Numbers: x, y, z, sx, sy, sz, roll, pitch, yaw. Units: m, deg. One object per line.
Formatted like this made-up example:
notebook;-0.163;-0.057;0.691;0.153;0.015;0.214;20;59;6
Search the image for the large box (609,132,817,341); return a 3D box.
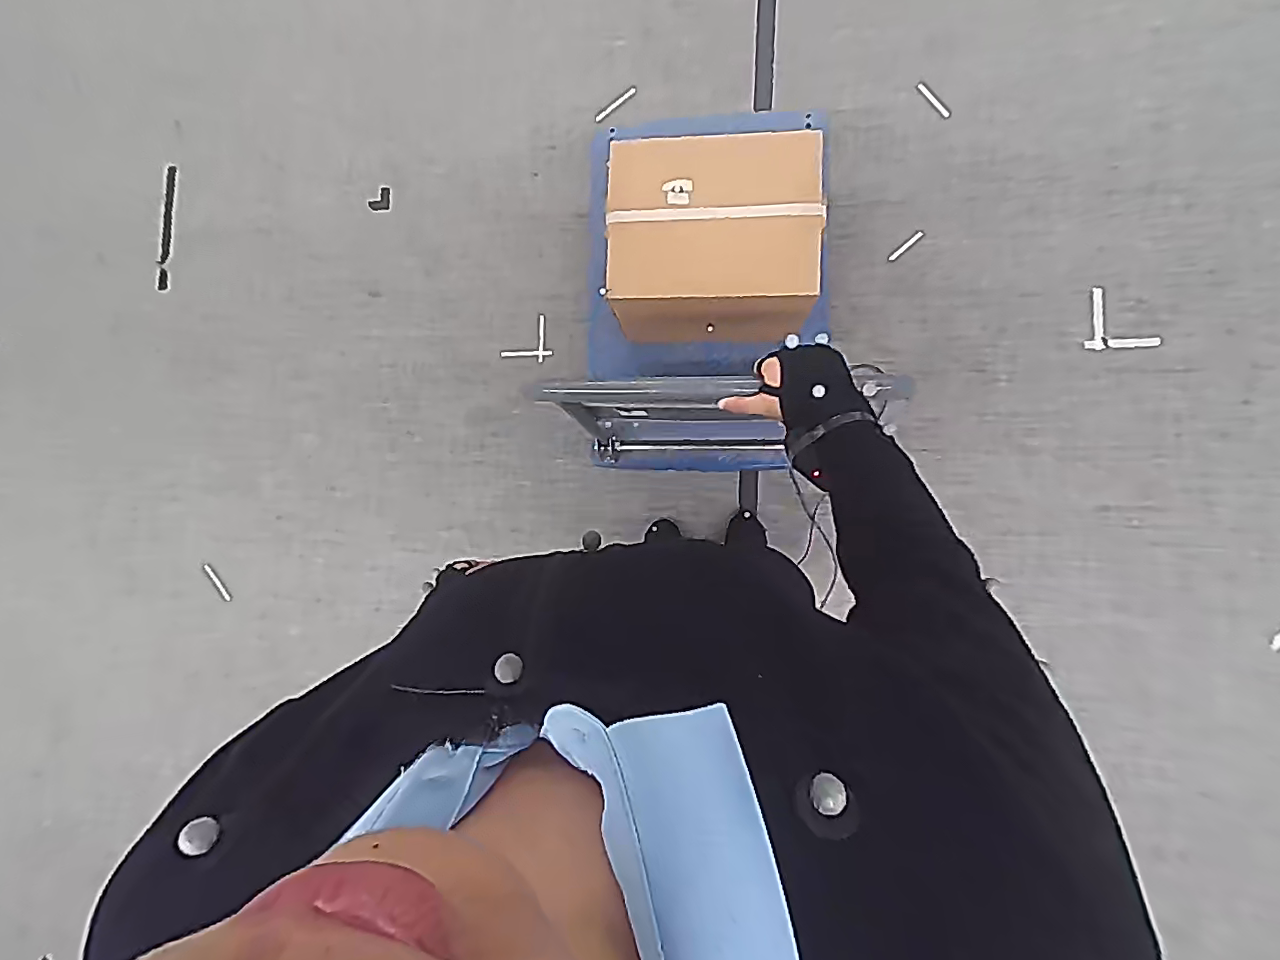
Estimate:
large box;0.159;-0.502;1.191;0.408;0.320;0.320;1;88;8
